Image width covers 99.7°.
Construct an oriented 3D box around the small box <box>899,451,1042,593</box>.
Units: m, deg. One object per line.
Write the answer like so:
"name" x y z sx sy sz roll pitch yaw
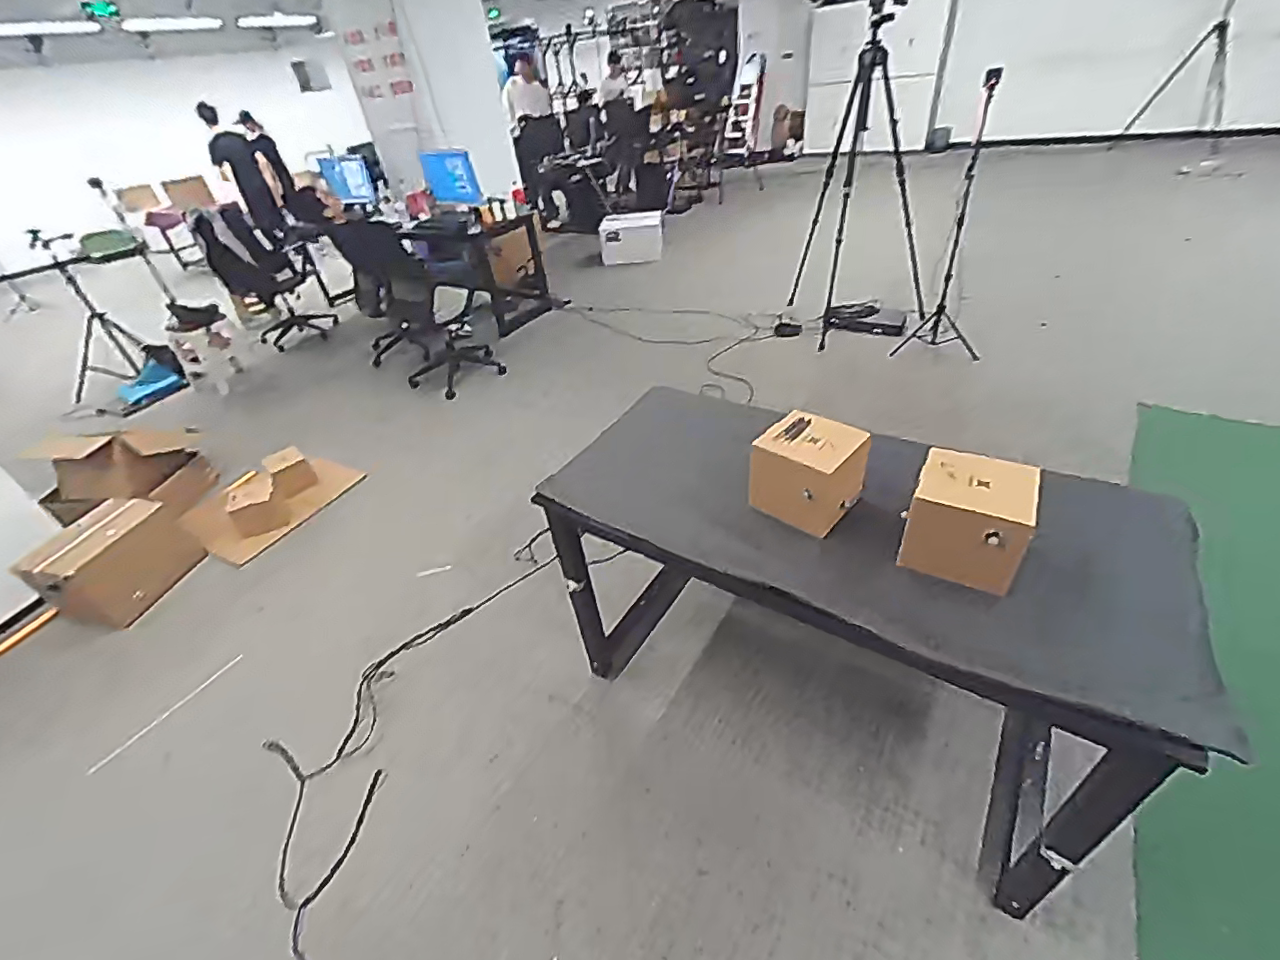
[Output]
"small box" 0.585 0.075 0.967 0.179 0.176 0.168 16 42 29
